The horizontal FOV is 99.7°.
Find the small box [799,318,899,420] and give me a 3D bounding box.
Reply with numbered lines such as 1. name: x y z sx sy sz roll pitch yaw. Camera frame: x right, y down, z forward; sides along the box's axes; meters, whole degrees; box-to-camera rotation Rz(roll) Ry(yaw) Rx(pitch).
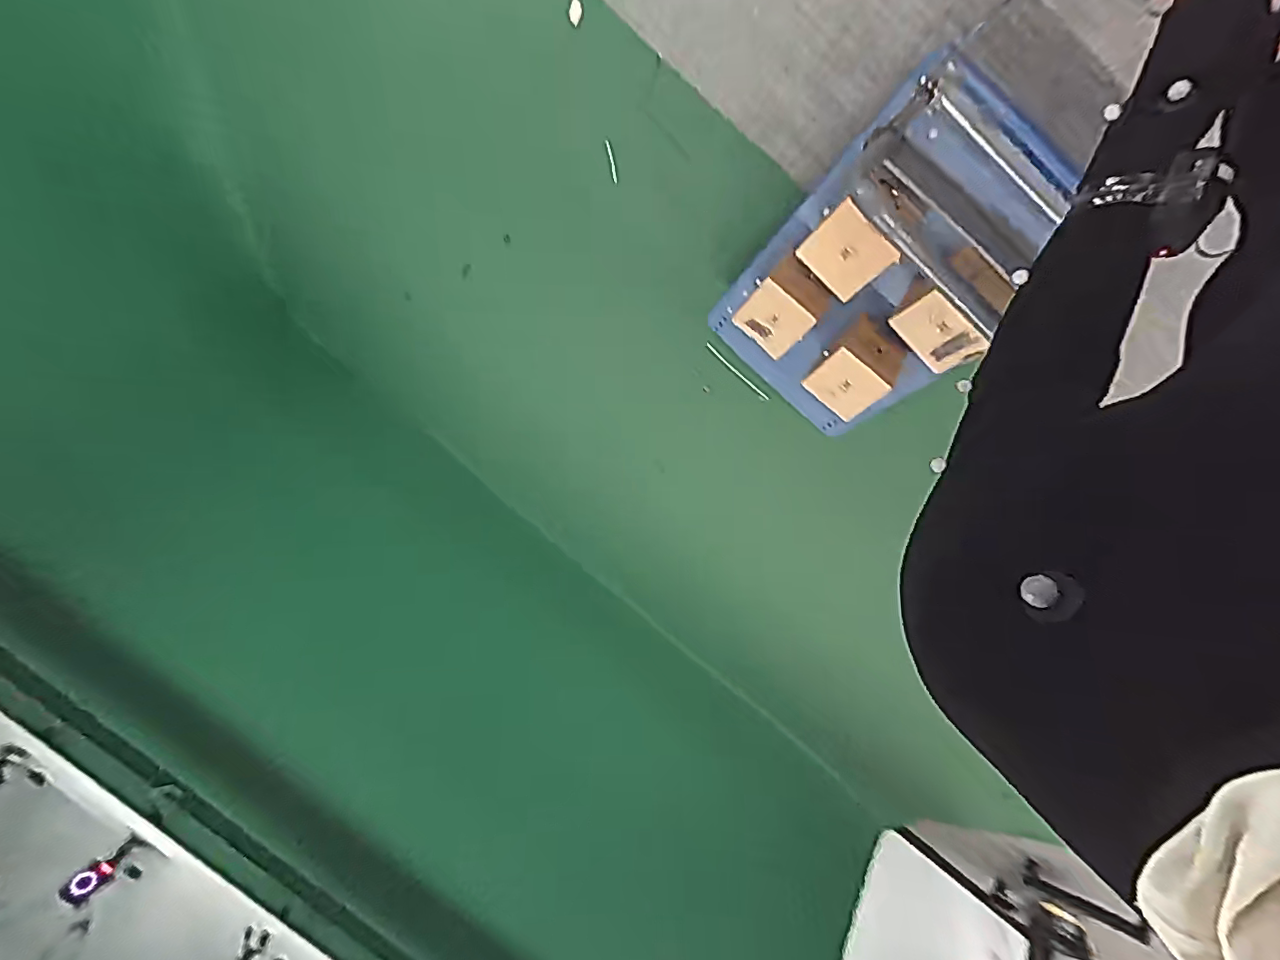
1. small box: 0.571 -0.303 1.462 0.168 0.176 0.179 40 147 -2

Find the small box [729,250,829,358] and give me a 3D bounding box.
1. small box: 0.375 -0.468 1.442 0.168 0.176 0.179 40 146 -5

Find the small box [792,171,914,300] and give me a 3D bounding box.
1. small box: 0.488 -0.554 1.230 0.168 0.176 0.179 42 146 -7
